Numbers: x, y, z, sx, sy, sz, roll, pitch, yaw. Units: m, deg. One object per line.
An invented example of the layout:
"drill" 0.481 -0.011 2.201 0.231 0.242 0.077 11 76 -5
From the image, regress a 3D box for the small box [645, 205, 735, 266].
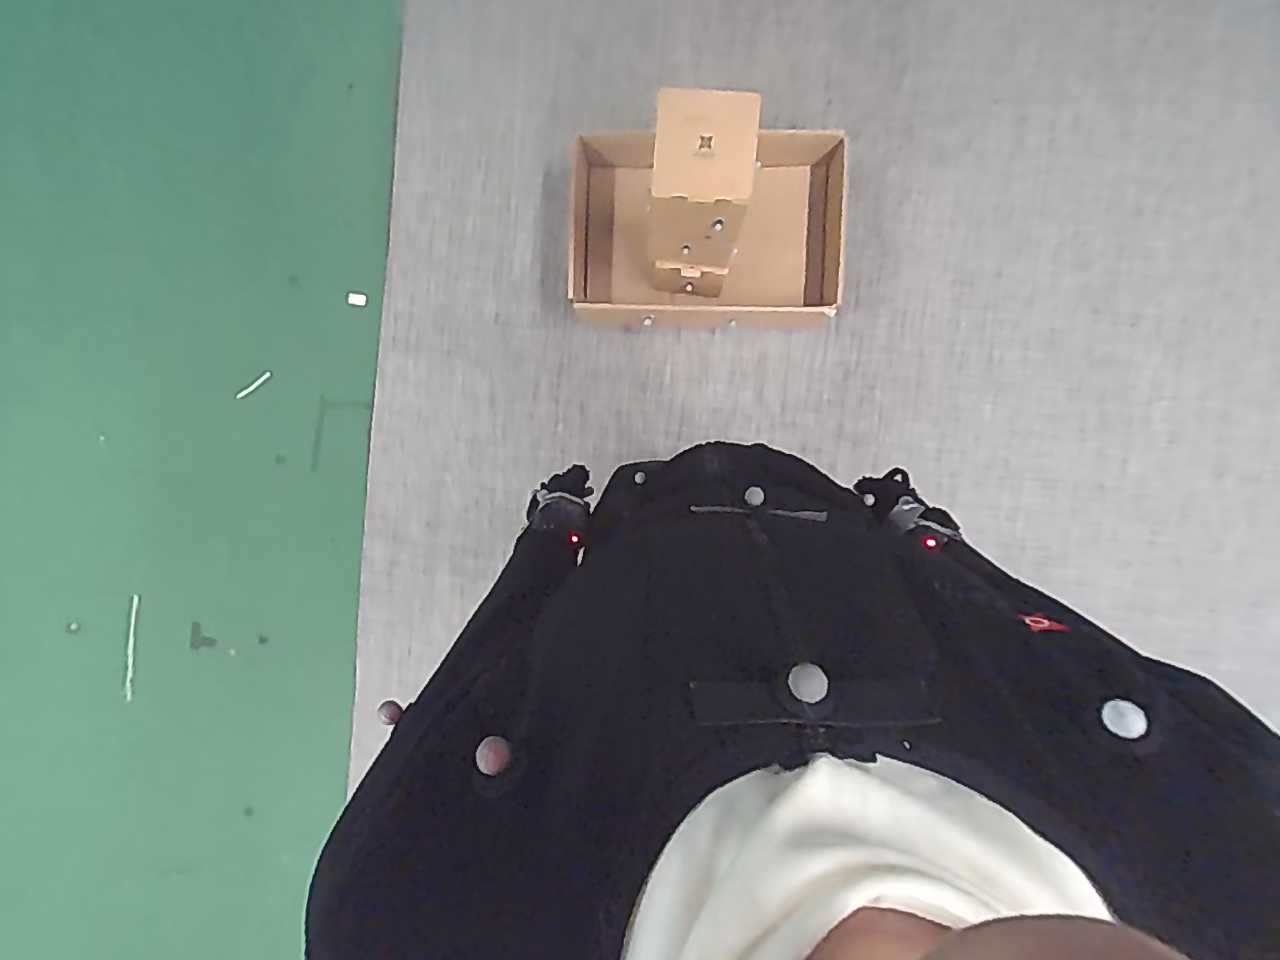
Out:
"small box" 0.115 -0.557 1.111 0.179 0.176 0.168 11 92 3

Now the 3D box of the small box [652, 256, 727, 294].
"small box" 0.125 -0.554 1.276 0.168 0.176 0.179 9 94 2

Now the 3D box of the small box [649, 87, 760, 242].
"small box" 0.106 -0.541 0.950 0.168 0.176 0.179 5 91 1
